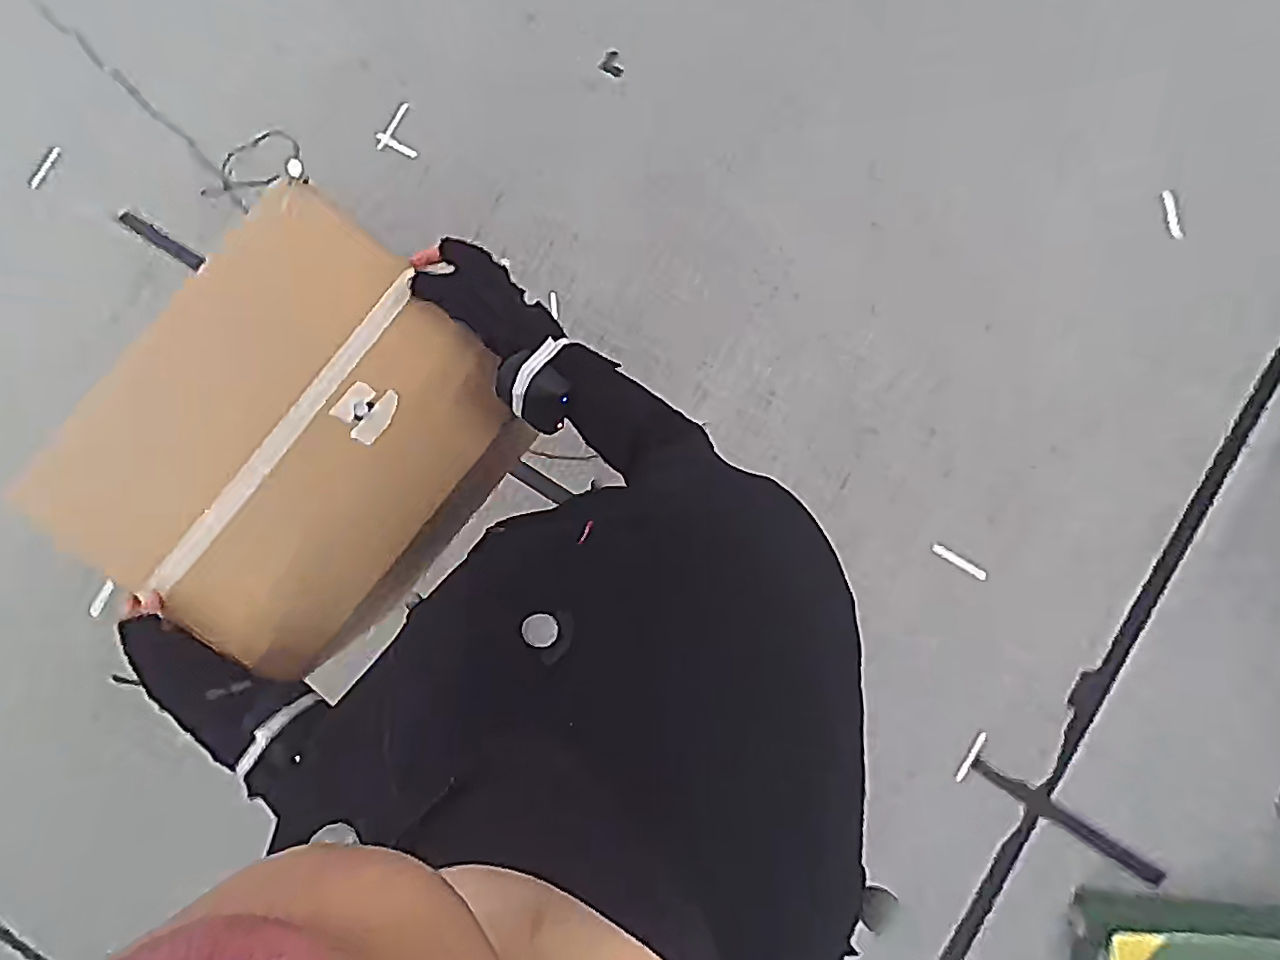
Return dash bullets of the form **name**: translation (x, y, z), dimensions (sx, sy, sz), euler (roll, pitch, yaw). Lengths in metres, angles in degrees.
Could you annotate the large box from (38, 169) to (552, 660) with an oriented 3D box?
- **large box**: translation (-0.358, -0.065, 0.689), dimensions (0.320, 0.320, 0.408), euler (39, 87, -7)
